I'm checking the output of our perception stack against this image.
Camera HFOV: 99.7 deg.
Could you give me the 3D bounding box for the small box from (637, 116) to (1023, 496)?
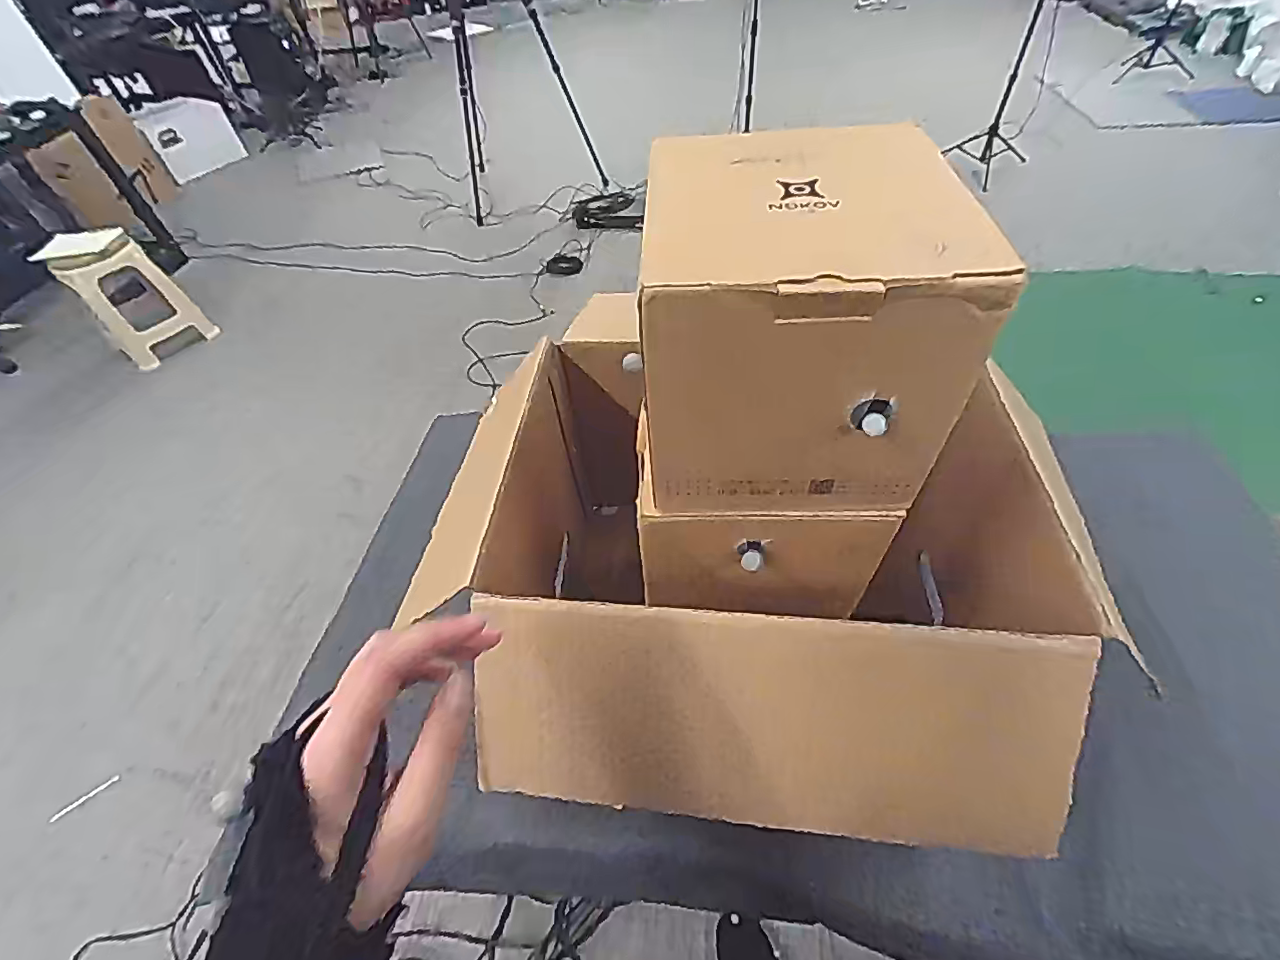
[{"bbox_3d":[0.089,-0.103,0.344,0.168,0.176,0.179,0,50,3],"label":"small box"}]
